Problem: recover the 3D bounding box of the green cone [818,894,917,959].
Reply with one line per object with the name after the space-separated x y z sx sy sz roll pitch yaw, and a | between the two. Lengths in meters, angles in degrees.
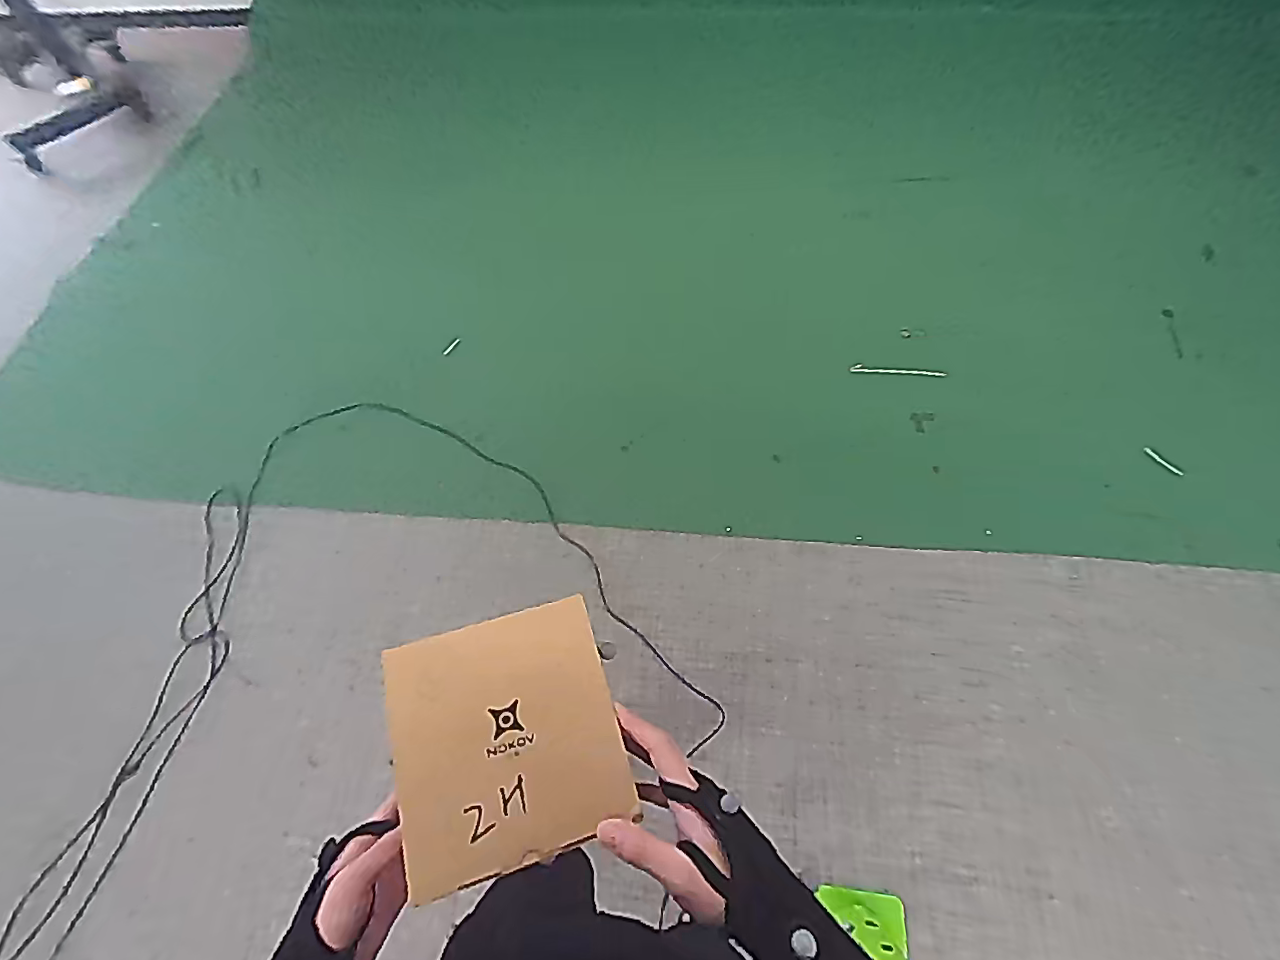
0.473 0.930 0.996 0.202 0.368 0.200 4 62 6 | green cone
